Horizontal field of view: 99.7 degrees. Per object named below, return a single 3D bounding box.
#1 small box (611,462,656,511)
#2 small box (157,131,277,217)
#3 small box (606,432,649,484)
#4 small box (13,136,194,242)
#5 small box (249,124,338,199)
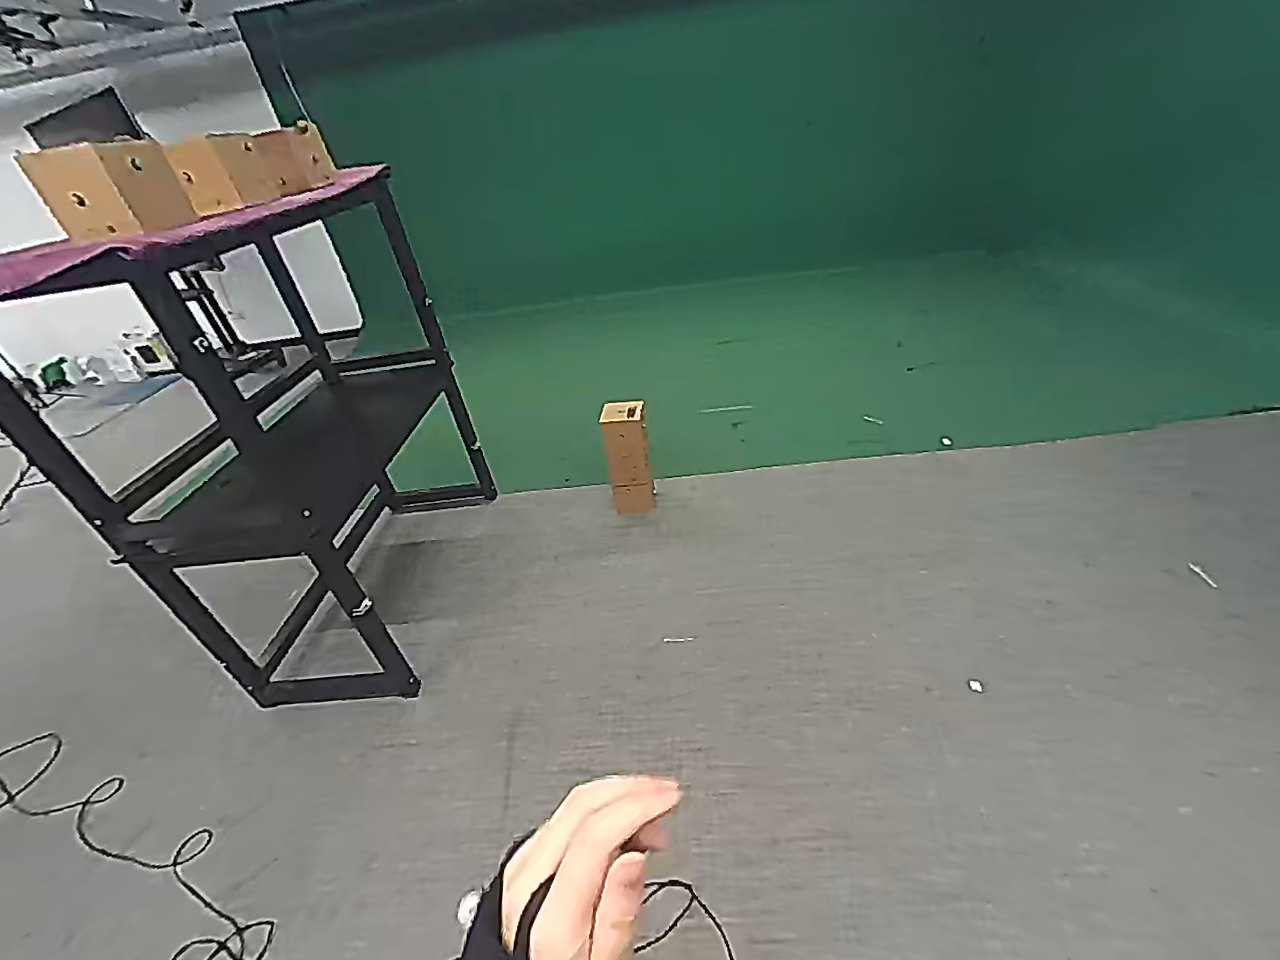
[{"bbox_3d":[-0.027,0.033,2.529,0.179,0.176,0.168,-3,35,8],"label":"small box"},{"bbox_3d":[-1.121,-0.812,1.440,0.168,0.176,0.179,-7,34,6],"label":"small box"},{"bbox_3d":[-0.050,-0.094,2.432,0.168,0.176,0.179,-4,35,7],"label":"small box"},{"bbox_3d":[-1.108,-0.610,1.139,0.168,0.176,0.179,-5,34,4],"label":"small box"},{"bbox_3d":[-1.118,-1.021,1.735,0.179,0.176,0.168,-3,36,12],"label":"small box"}]
